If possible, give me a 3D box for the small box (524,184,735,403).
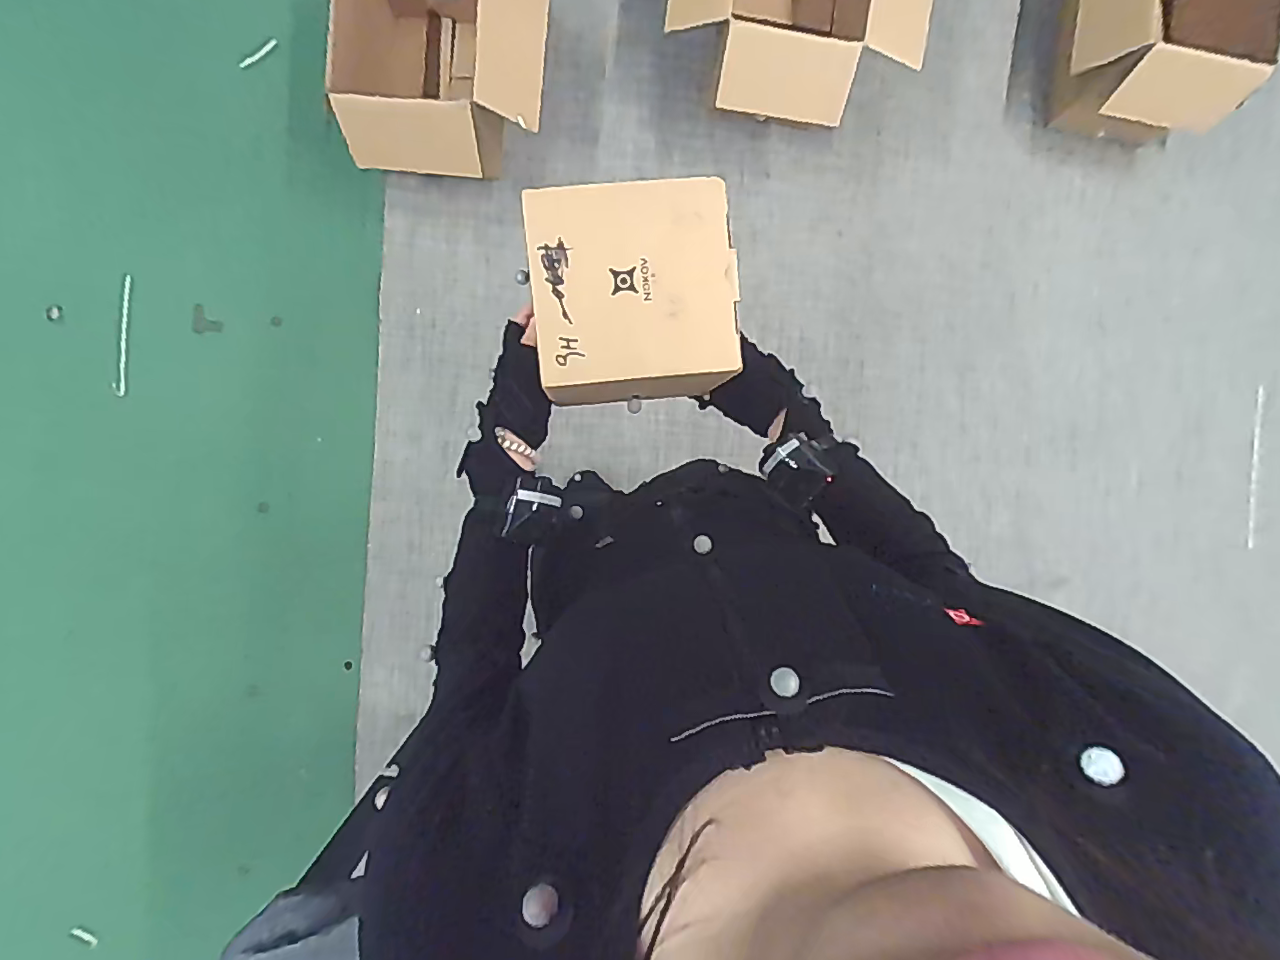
[{"bbox_3d":[-0.015,-0.172,0.543,0.179,0.176,0.168,-5,91,-5],"label":"small box"}]
